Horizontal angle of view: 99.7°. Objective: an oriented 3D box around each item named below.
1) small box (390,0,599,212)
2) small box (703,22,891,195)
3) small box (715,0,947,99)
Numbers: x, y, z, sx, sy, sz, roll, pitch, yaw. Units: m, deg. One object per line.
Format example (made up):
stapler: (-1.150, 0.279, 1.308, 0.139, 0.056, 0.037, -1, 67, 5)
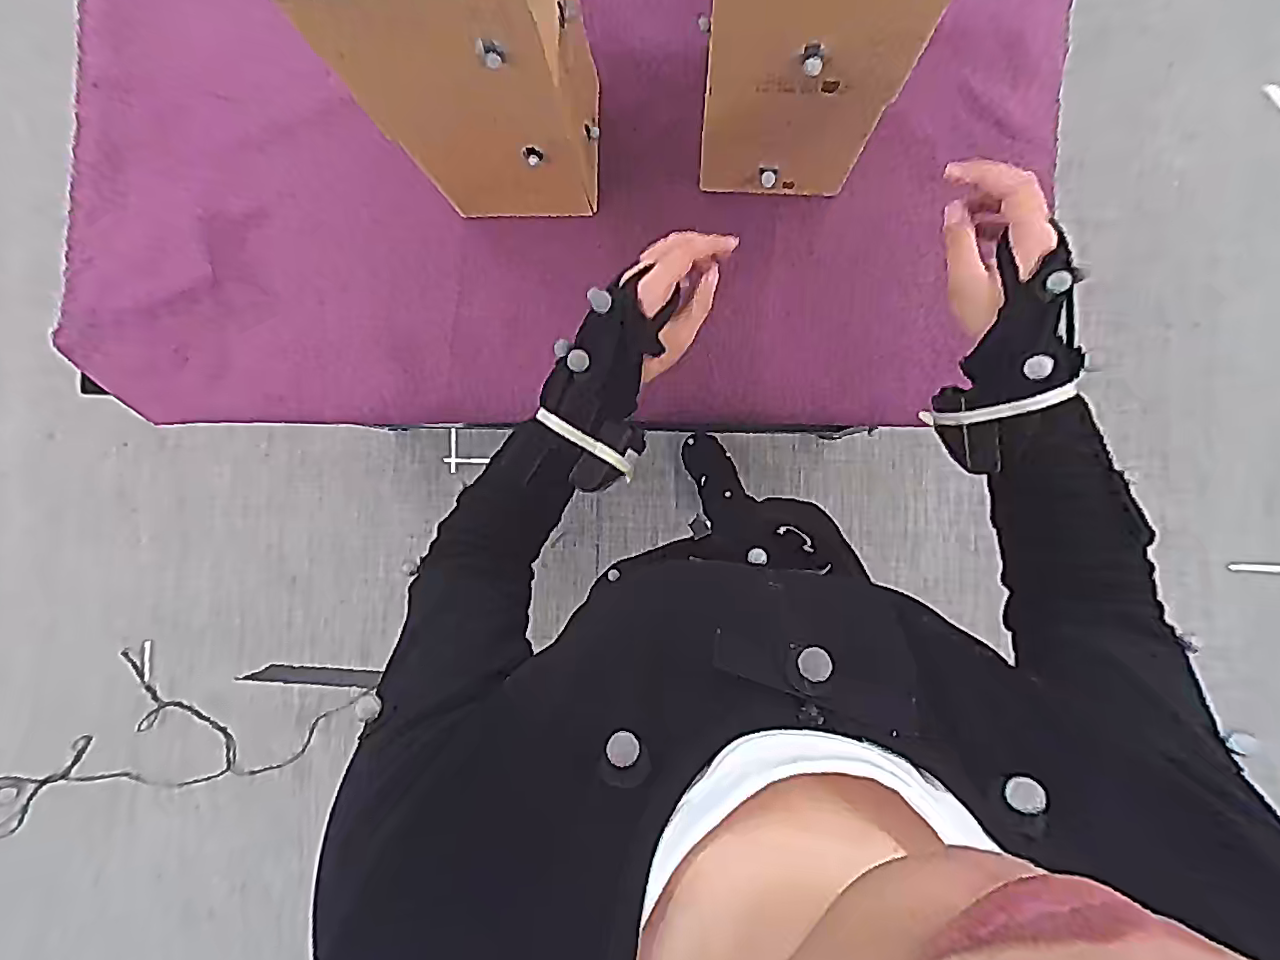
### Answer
small box: (-0.146, -0.413, 0.592, 0.179, 0.176, 0.168, 1, 90, 4)
small box: (0.156, -0.432, 0.566, 0.168, 0.176, 0.179, 5, 92, 5)
small box: (0.146, -0.430, 0.401, 0.168, 0.176, 0.179, 4, 91, 5)
